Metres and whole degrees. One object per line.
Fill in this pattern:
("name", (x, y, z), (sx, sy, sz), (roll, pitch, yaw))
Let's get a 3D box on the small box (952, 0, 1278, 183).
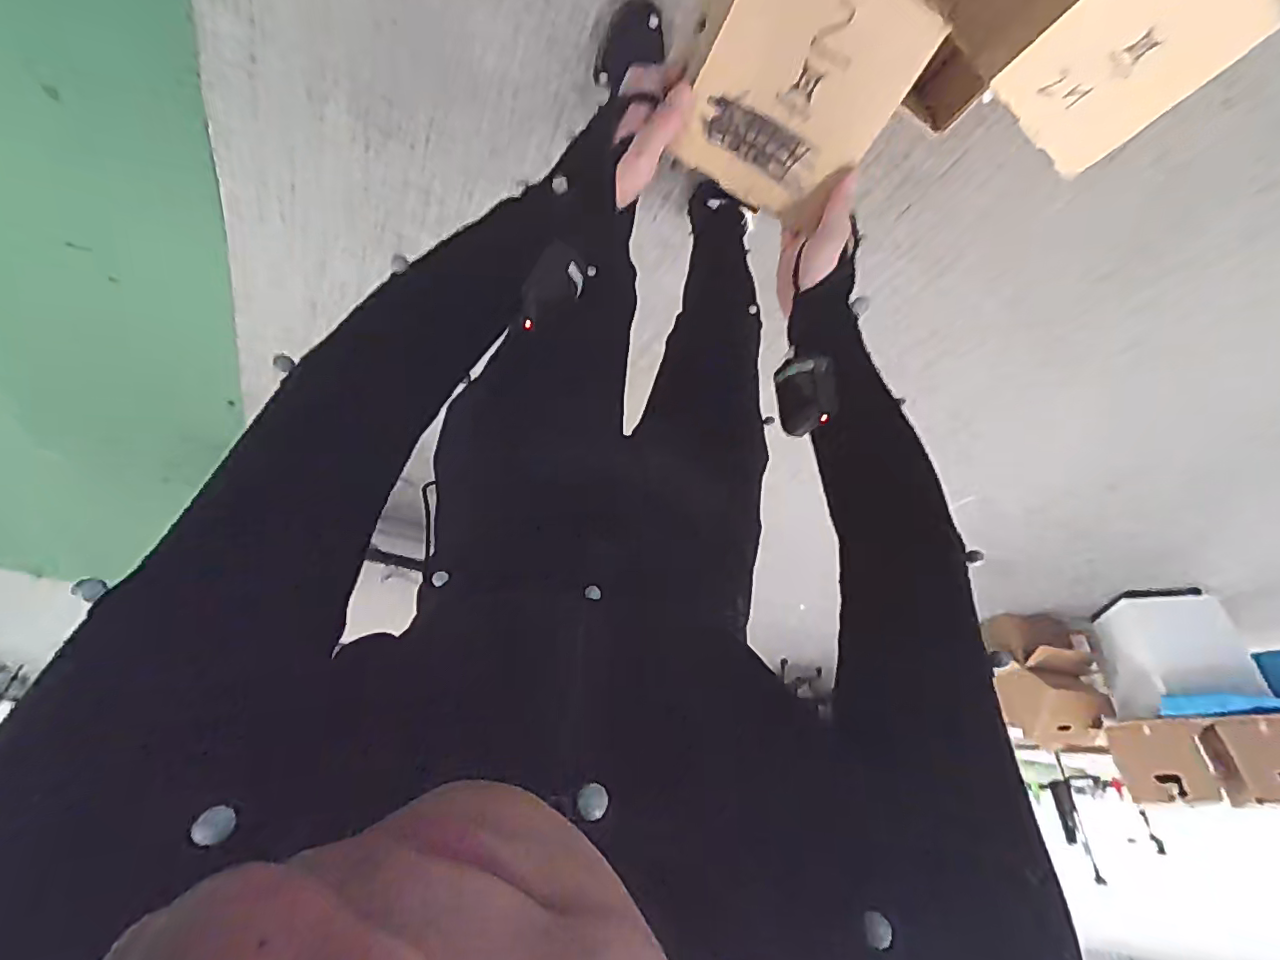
("small box", (0.456, -0.459, 0.544), (0.168, 0.176, 0.179), (23, 143, -28))
